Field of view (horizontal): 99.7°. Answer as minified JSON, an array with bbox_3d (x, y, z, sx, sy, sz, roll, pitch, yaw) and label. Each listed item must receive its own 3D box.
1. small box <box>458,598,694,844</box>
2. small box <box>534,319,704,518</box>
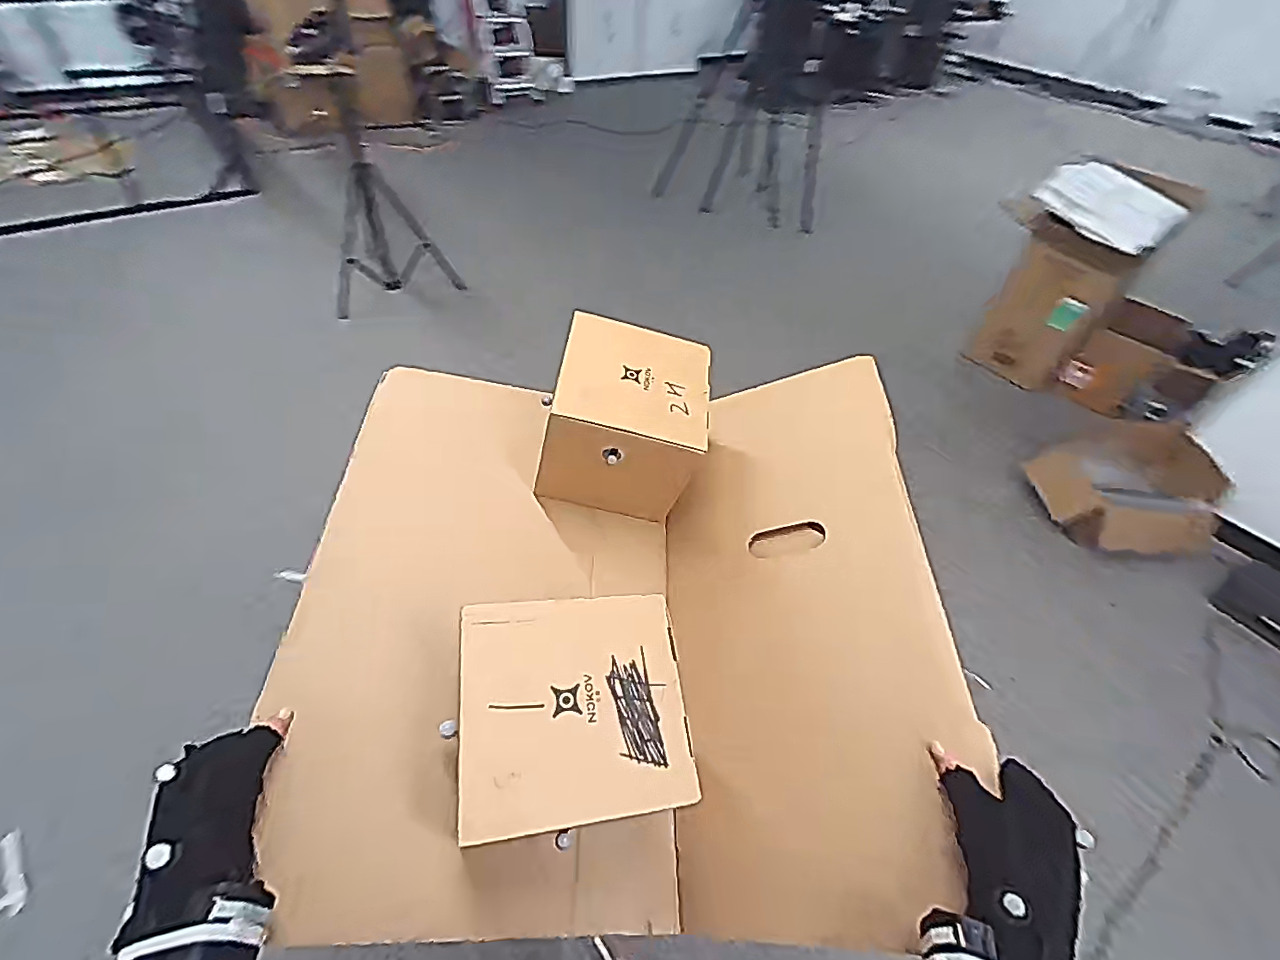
[{"bbox_3d":[-0.072,0.216,0.494,0.179,0.176,0.168,0,59,-18],"label":"small box"},{"bbox_3d":[-0.031,-0.069,0.690,0.179,0.176,0.168,14,56,-10],"label":"small box"}]
